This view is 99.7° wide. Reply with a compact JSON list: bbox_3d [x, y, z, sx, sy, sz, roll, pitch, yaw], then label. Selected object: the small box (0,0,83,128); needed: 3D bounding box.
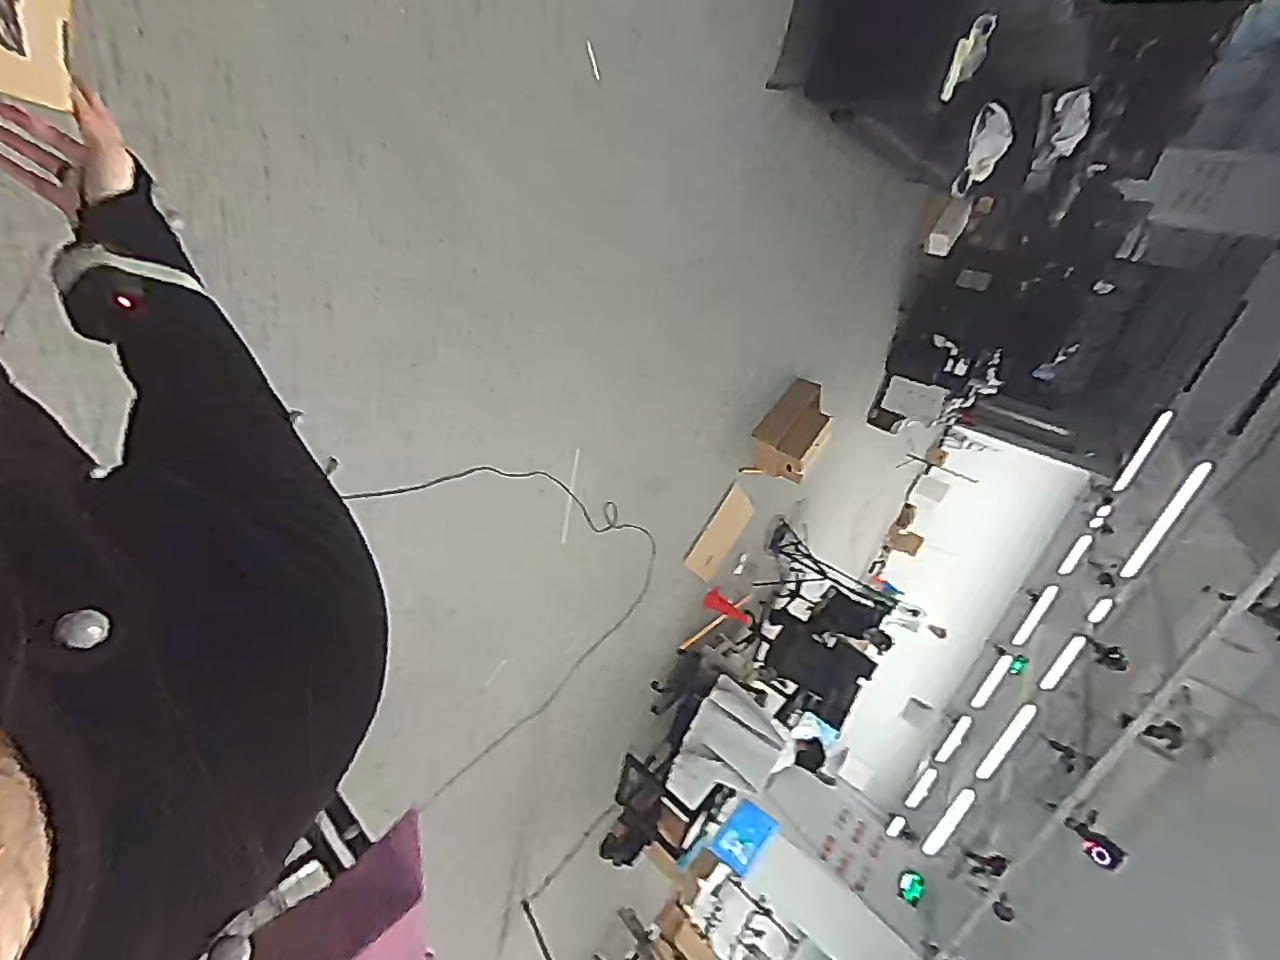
[{"bbox_3d":[-0.516,-0.366,0.359,0.179,0.176,0.168,-10,121,-53],"label":"small box"}]
